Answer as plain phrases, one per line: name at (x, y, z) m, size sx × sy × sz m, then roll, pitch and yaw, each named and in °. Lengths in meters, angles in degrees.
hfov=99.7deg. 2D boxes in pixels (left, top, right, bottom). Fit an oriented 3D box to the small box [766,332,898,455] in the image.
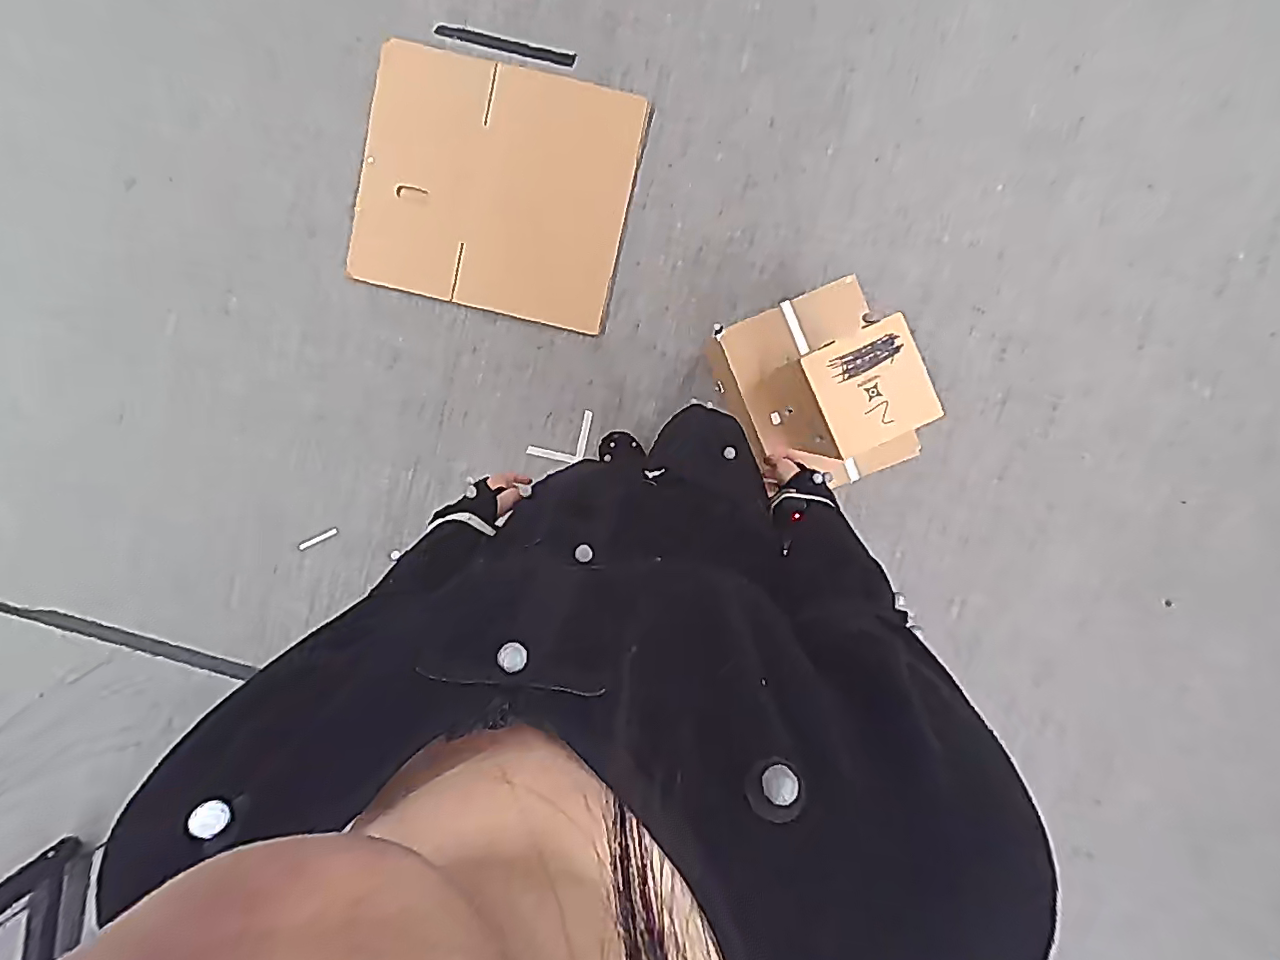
small box at (0.364, -0.164, 1.059) m, size 0.168 × 0.176 × 0.179 m, roll -25°, pitch 96°, yaw 5°
